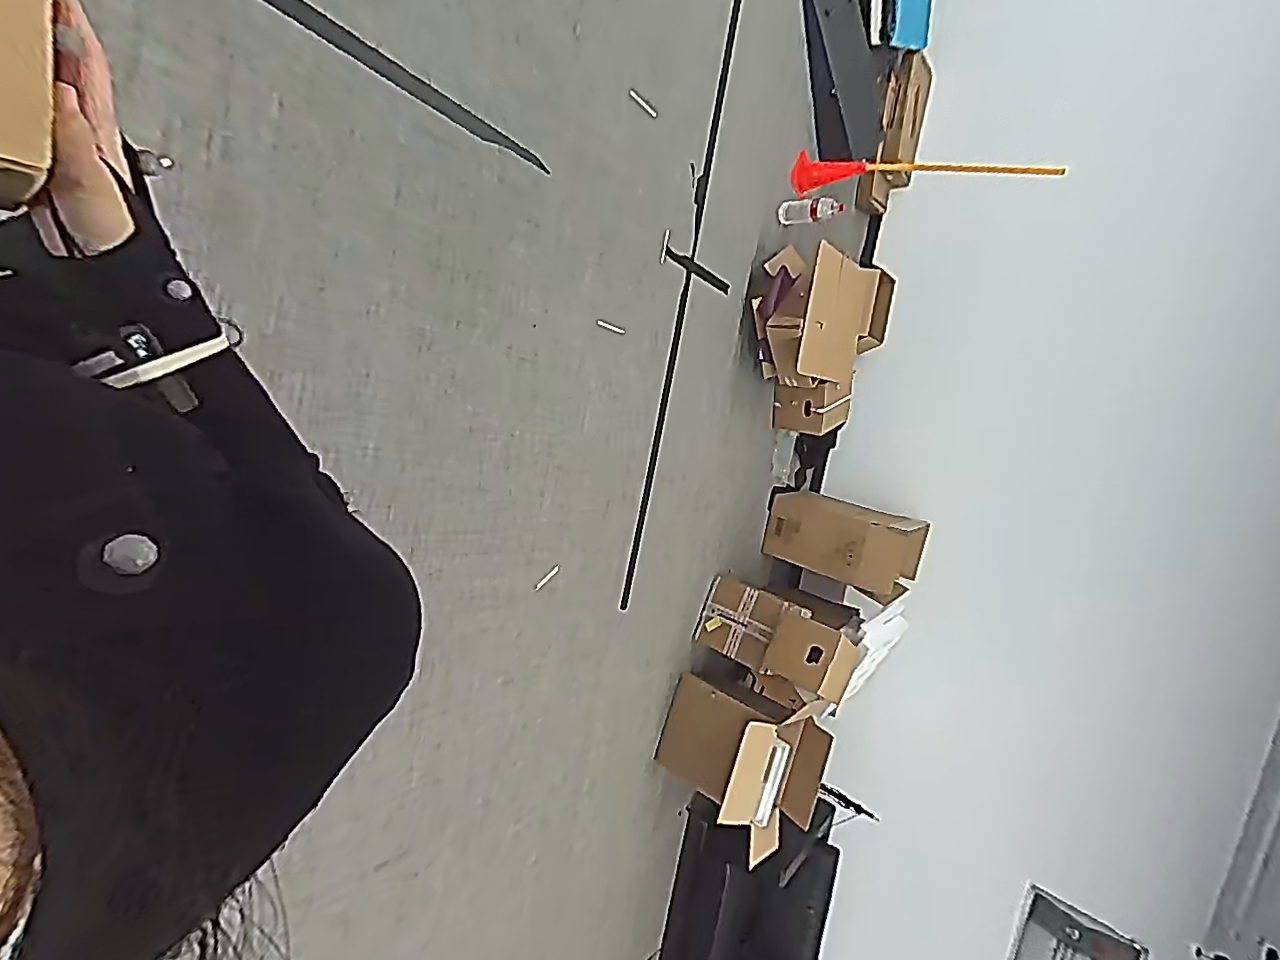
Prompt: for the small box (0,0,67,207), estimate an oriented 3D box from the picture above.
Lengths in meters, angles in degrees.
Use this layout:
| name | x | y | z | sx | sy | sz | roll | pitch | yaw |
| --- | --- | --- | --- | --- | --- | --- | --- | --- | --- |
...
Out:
| name | x | y | z | sx | sy | sz | roll | pitch | yaw |
| --- | --- | --- | --- | --- | --- | --- | --- | --- | --- |
| small box | -0.365 | -0.235 | 0.223 | 0.168 | 0.176 | 0.179 | -1 | 101 | -53 |
